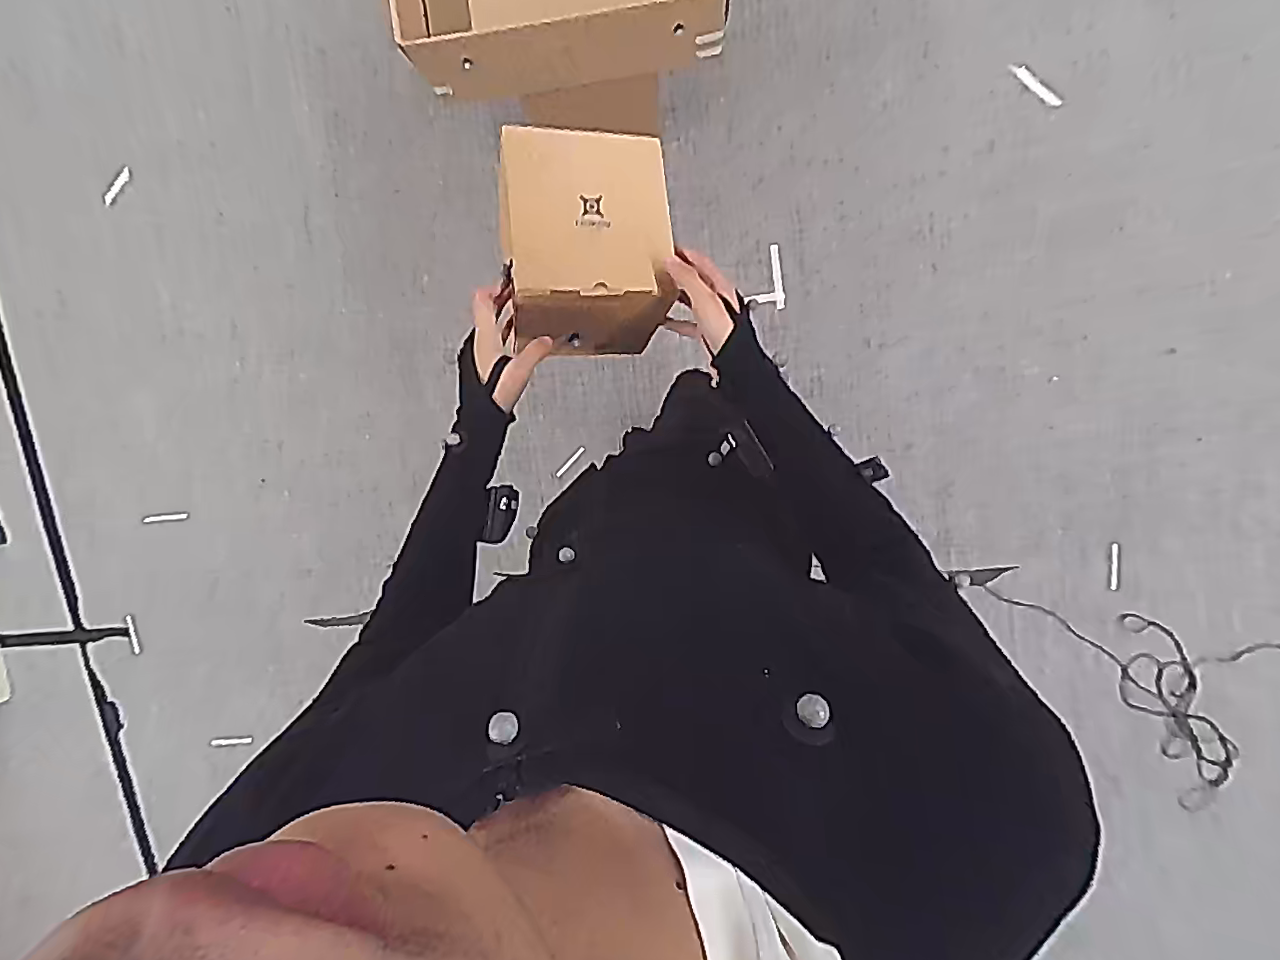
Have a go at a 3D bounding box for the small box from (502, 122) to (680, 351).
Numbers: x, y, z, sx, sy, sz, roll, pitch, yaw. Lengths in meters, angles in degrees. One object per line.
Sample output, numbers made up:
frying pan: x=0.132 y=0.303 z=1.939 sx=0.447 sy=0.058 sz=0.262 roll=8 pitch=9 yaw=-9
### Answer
small box: x=-0.067 y=-0.263 z=0.621 sx=0.168 sy=0.176 sz=0.179 roll=-6 pitch=84 yaw=-16
